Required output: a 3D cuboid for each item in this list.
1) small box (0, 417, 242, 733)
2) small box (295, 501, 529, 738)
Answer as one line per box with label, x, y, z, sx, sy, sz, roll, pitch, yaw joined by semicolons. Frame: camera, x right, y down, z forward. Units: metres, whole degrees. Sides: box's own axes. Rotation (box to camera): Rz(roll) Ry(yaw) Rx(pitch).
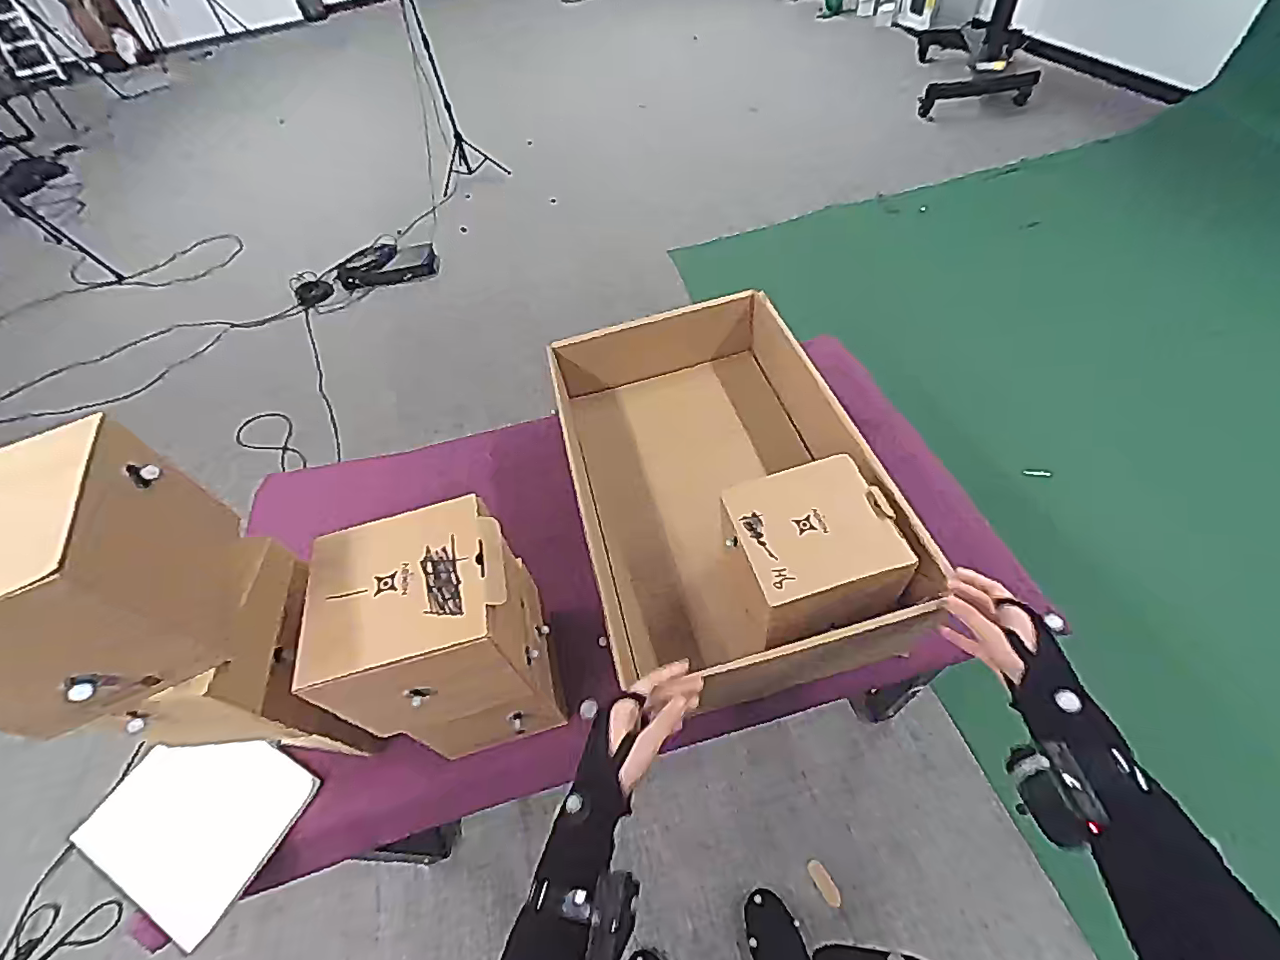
small box;-0.480;0.083;0.463;0.168;0.176;0.179;-24;53;-9
small box;-0.225;0.153;0.581;0.179;0.176;0.168;-15;51;-5
